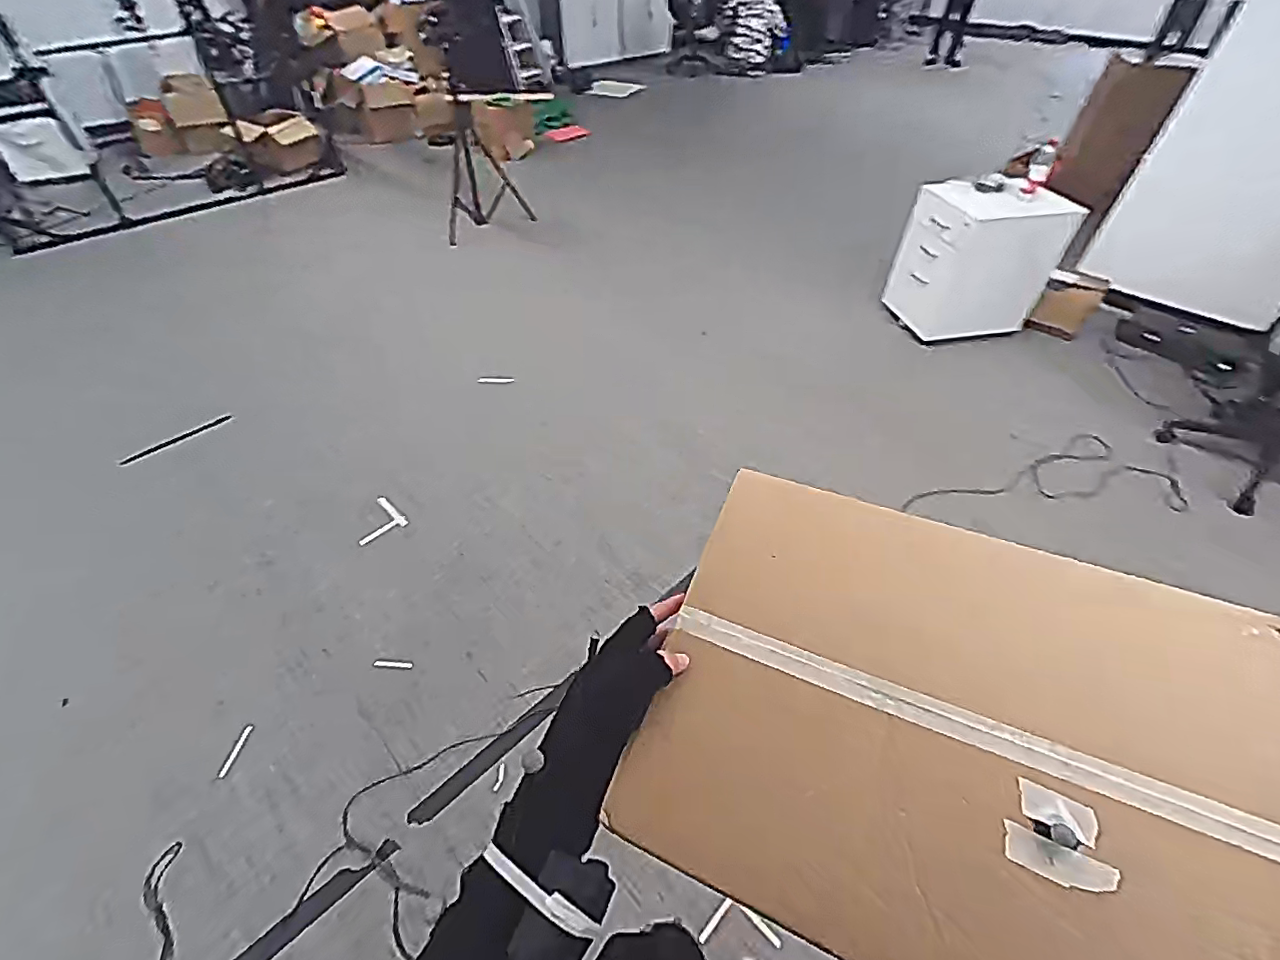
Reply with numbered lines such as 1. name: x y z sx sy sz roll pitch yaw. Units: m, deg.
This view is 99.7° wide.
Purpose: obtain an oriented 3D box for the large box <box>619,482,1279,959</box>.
1. large box: 0.239 0.252 0.515 0.408 0.320 0.320 17 62 19
